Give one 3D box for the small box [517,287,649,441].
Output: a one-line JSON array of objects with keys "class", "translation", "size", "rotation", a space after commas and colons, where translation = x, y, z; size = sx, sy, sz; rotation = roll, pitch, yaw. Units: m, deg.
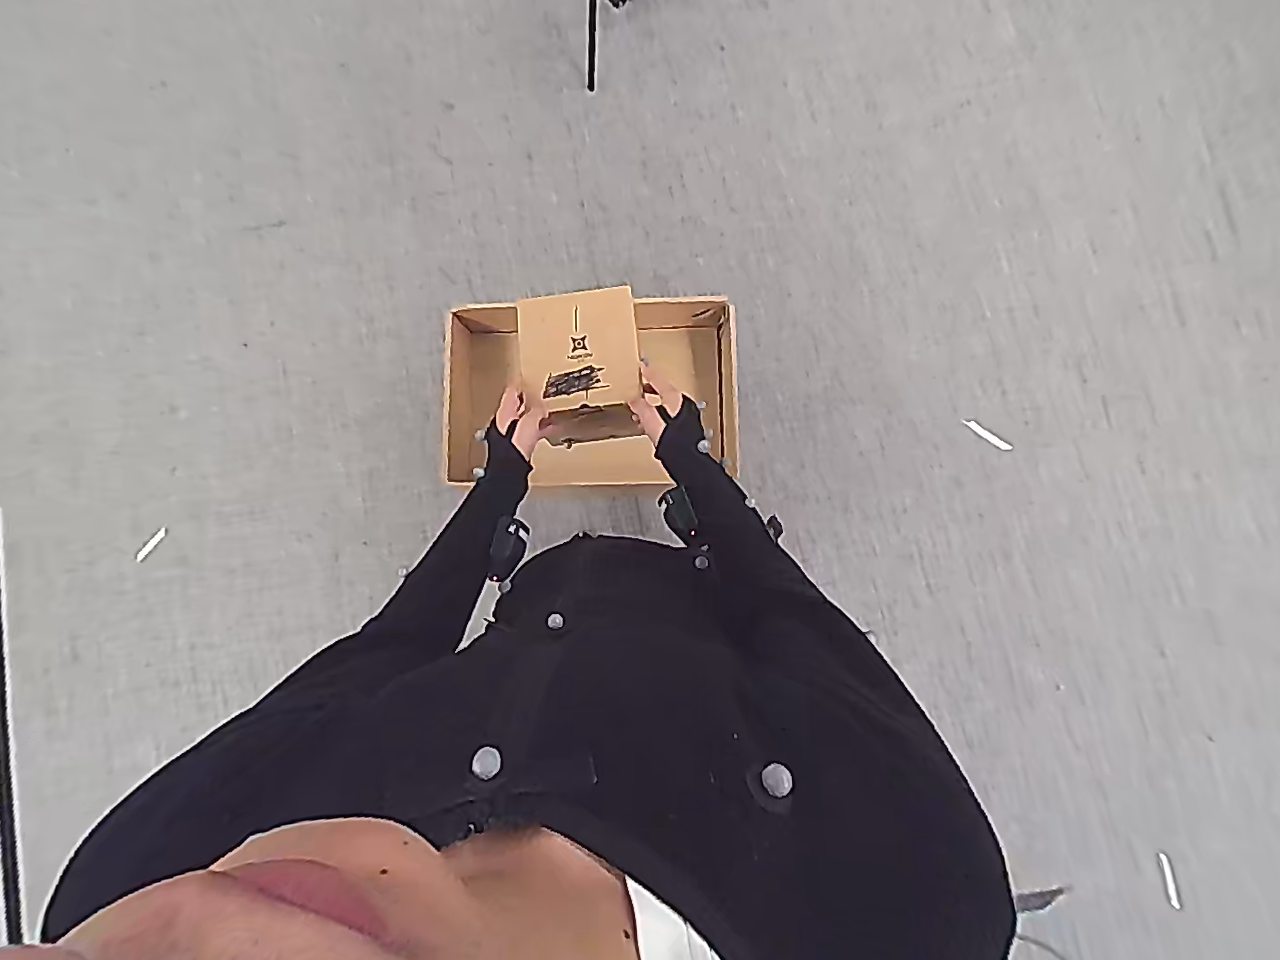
[{"class": "small box", "translation": [-0.079, -0.163, 0.822], "size": [0.168, 0.176, 0.179], "rotation": [-7, 79, 2]}]
